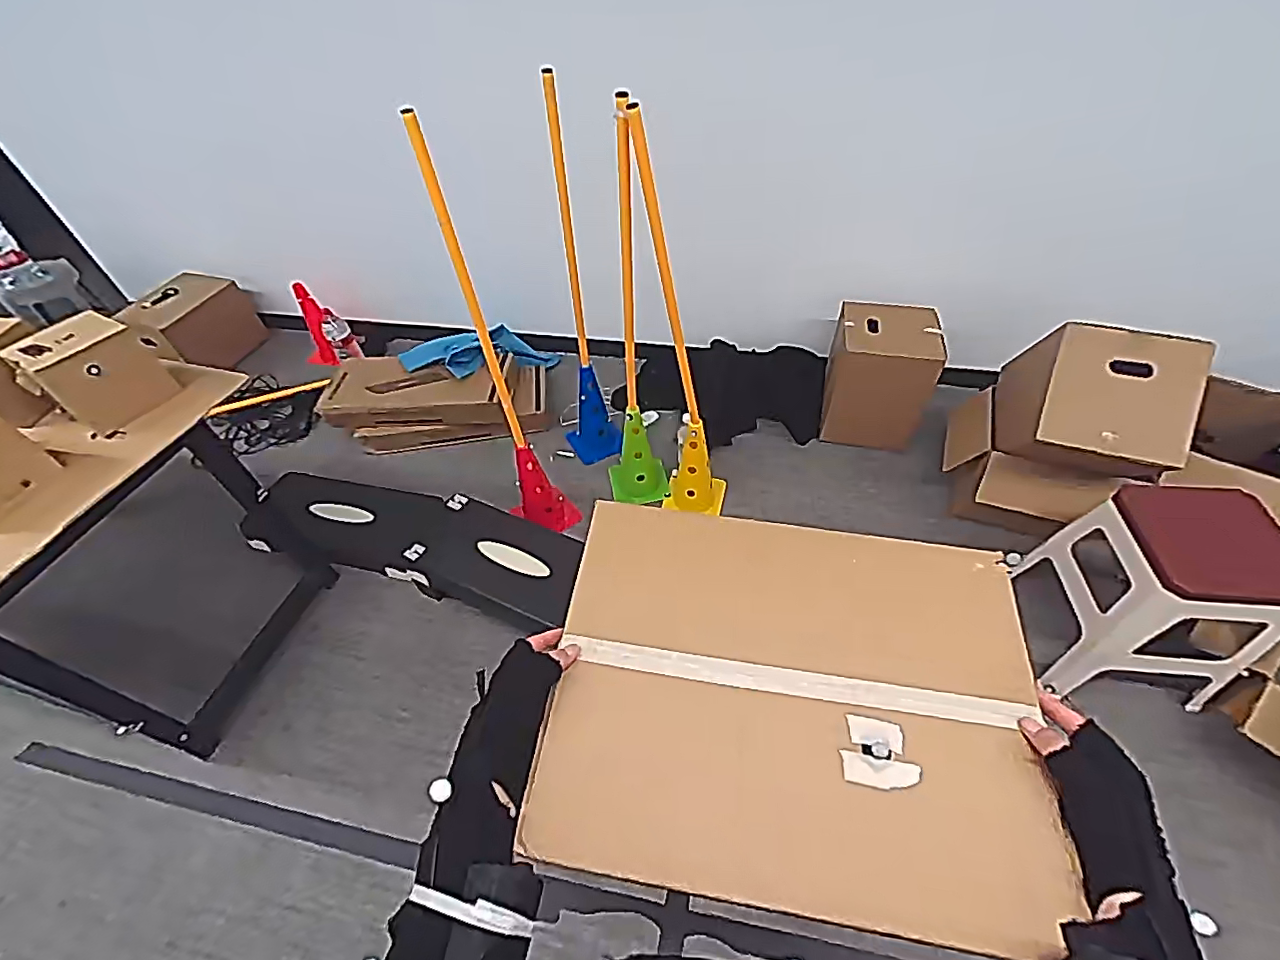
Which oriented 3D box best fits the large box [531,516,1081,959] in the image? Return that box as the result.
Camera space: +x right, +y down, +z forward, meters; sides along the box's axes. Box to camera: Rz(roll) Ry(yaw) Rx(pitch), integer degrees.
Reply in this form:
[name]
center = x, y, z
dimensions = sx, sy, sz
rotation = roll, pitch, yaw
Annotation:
[large box]
center = 0.132, 0.269, 0.595
dimensions = 0.408, 0.320, 0.320
rotation = 8, 56, 6
